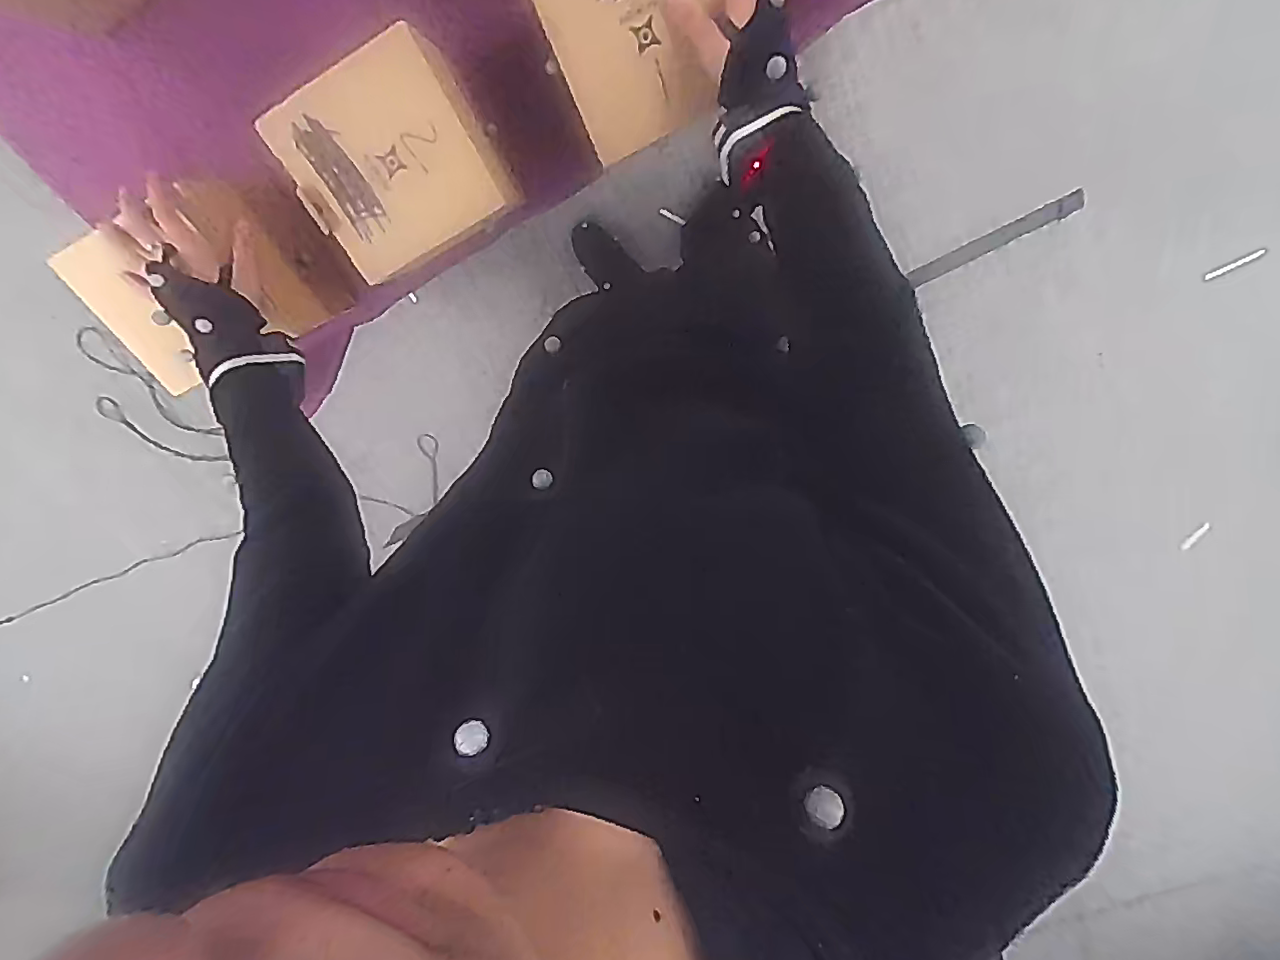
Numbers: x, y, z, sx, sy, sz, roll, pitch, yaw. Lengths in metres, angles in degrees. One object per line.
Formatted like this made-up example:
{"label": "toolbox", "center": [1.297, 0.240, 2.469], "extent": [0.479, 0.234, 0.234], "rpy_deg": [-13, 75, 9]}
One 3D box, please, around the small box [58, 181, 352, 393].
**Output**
{"label": "small box", "center": [-0.491, -0.232, 0.646], "extent": [0.179, 0.176, 0.168], "rpy_deg": [-24, 117, 8]}
